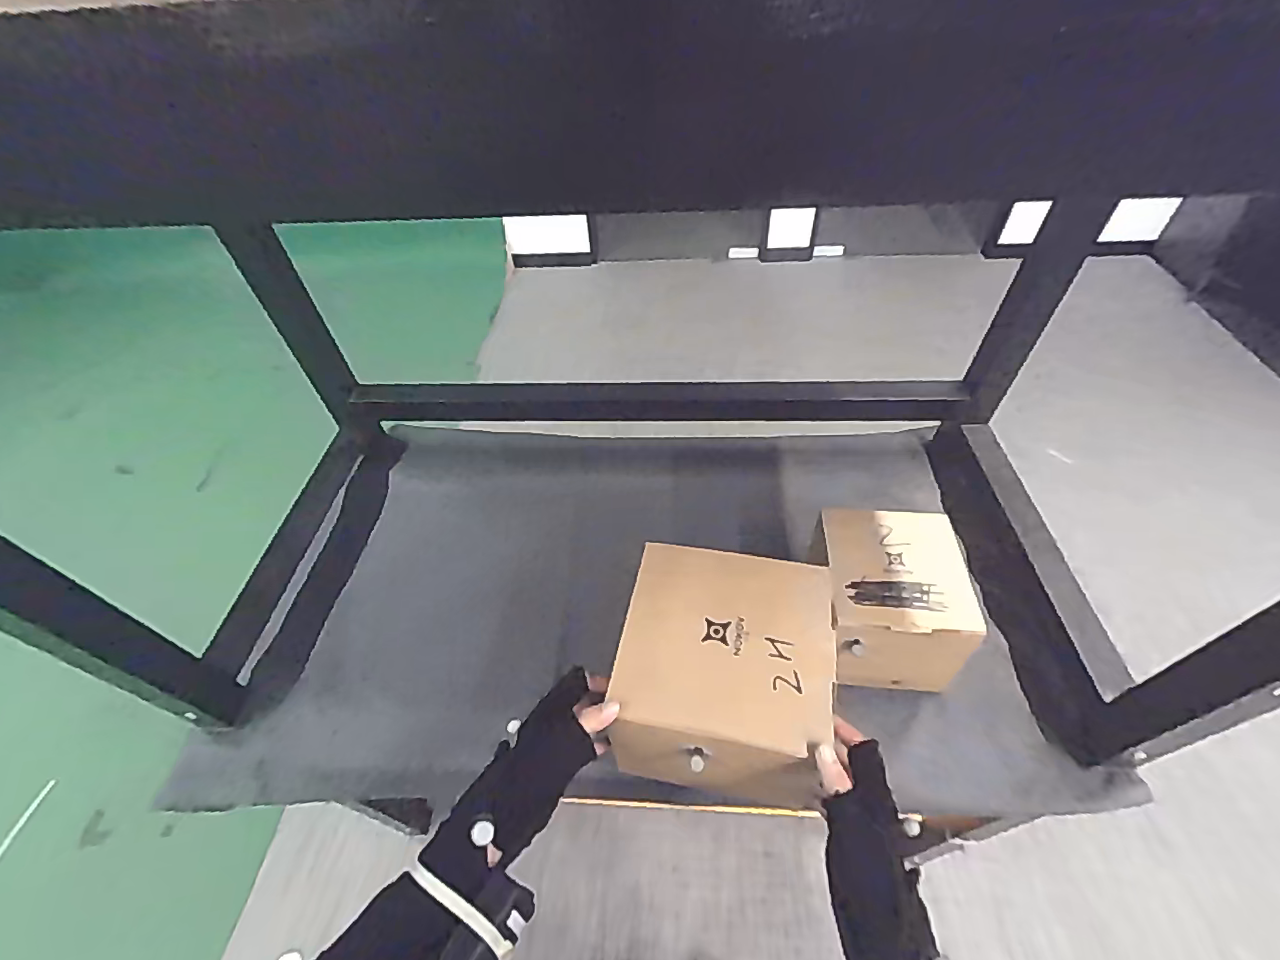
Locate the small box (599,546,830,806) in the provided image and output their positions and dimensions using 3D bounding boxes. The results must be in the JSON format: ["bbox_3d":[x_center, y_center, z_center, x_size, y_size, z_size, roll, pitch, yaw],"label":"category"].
[{"bbox_3d":[0.074,0.188,0.515,0.179,0.176,0.168,8,49,11],"label":"small box"}]
